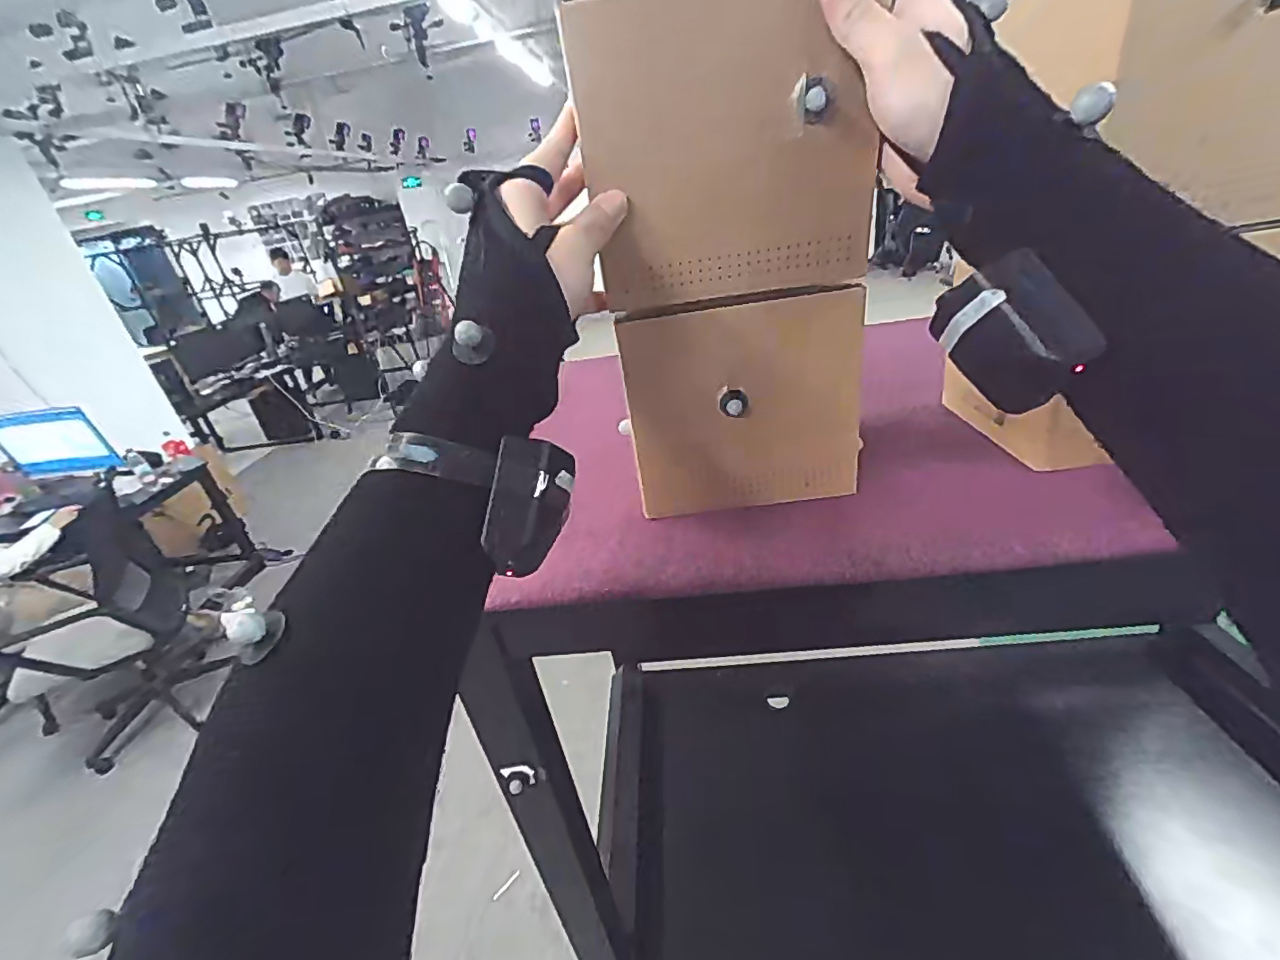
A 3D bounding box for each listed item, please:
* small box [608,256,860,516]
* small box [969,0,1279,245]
[{"bbox_3d":[0.076,-0.086,0.477,0.179,0.176,0.168,-8,27,4],"label":"small box"},{"bbox_3d":[0.358,-0.268,0.378,0.179,0.176,0.168,-6,28,6],"label":"small box"}]
